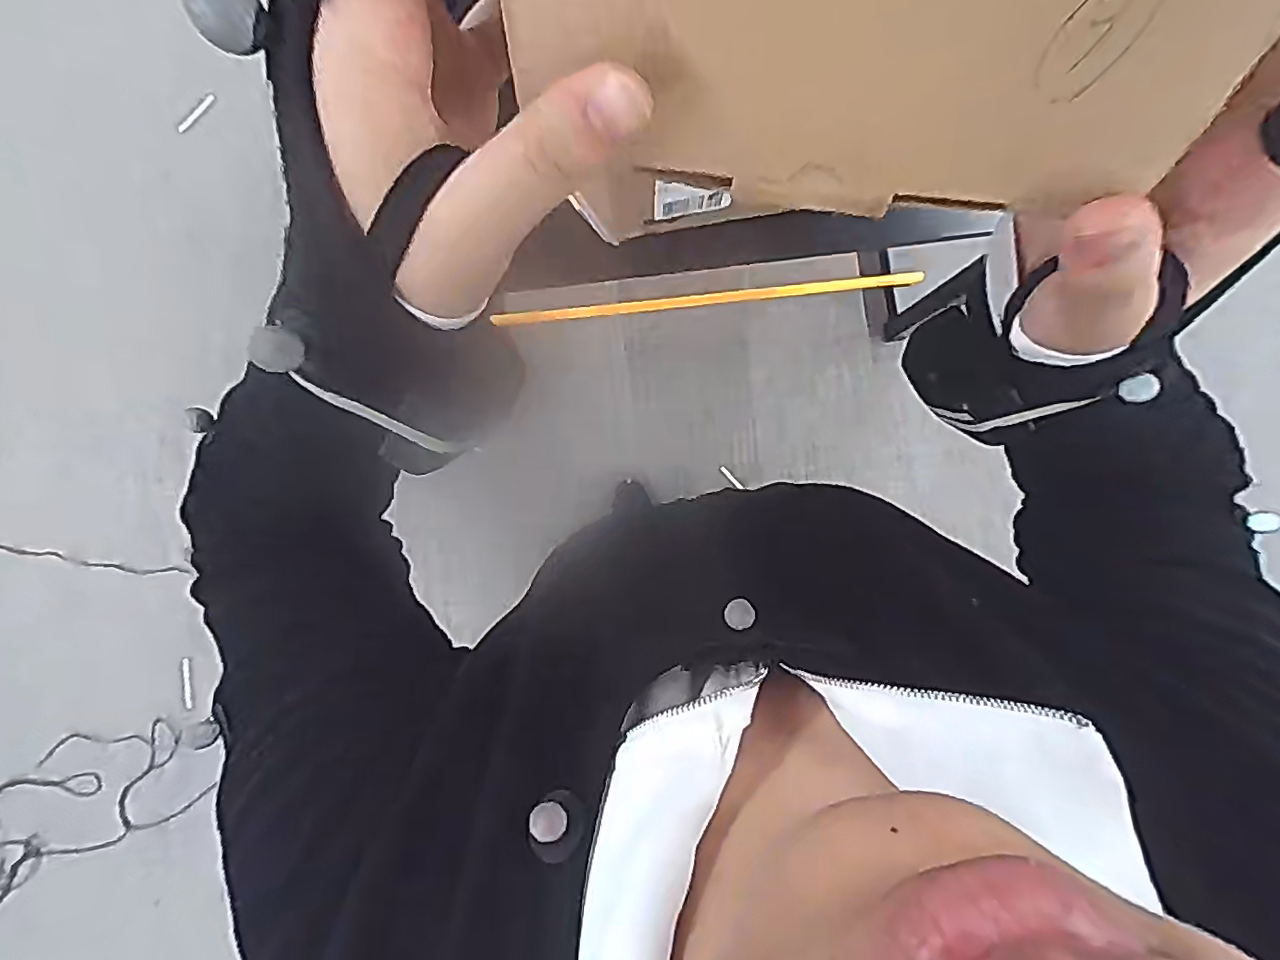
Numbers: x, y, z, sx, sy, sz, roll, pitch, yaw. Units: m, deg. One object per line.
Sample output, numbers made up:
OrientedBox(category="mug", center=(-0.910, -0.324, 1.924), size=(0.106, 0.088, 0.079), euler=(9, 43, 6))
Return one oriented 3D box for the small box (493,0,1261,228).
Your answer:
OrientedBox(category="small box", center=(0.059, -0.195, 0.130), size=(0.168, 0.179, 0.176), euler=(8, 56, 4))
